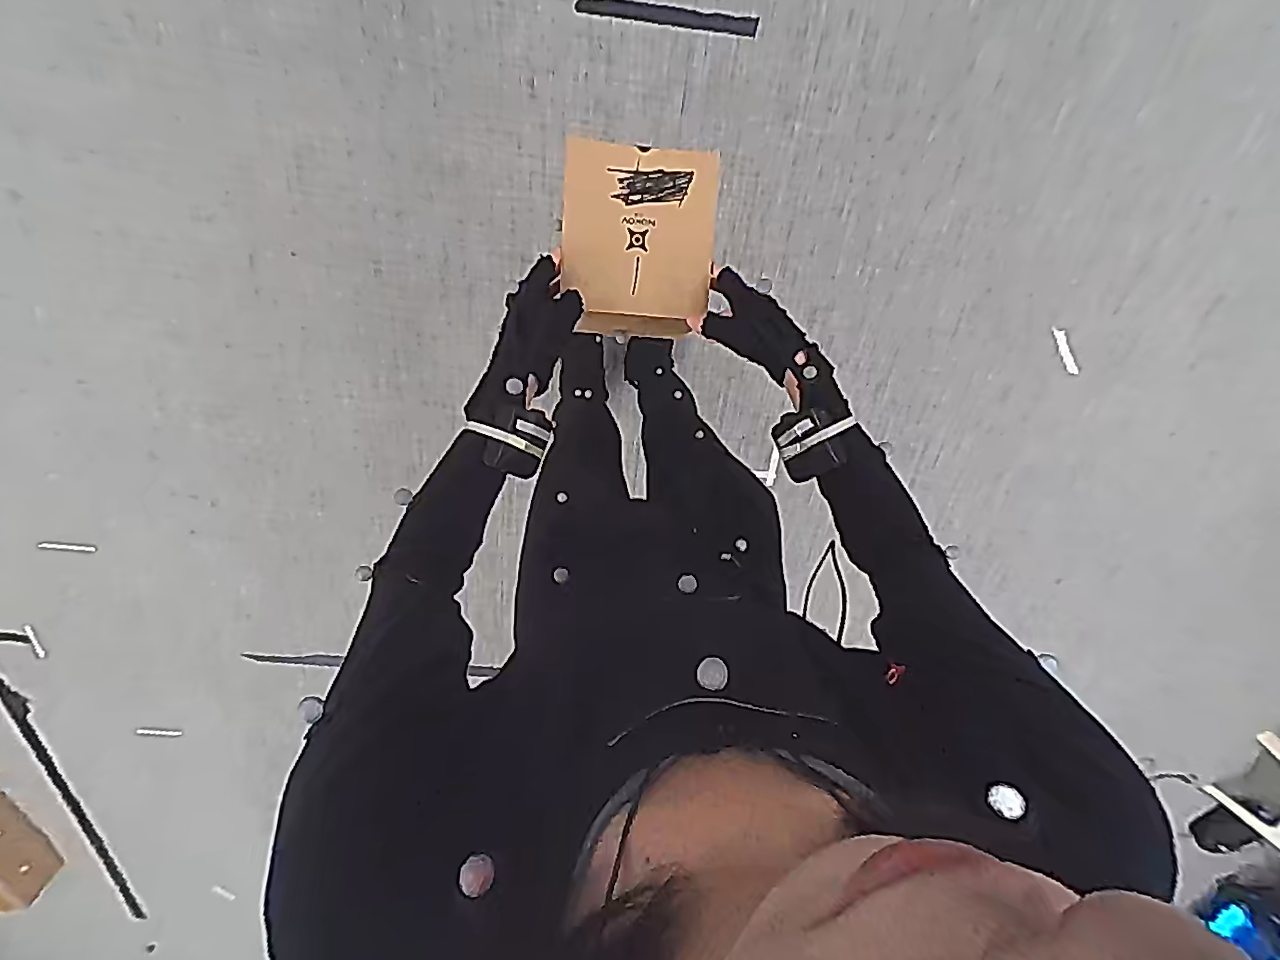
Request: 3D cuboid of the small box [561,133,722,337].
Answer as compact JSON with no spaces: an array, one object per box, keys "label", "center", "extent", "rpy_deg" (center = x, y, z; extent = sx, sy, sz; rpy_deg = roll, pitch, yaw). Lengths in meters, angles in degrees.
[{"label":"small box","center":[-0.006,-0.280,0.656],"extent":[0.168,0.176,0.179],"rpy_deg":[3,97,-5]}]
